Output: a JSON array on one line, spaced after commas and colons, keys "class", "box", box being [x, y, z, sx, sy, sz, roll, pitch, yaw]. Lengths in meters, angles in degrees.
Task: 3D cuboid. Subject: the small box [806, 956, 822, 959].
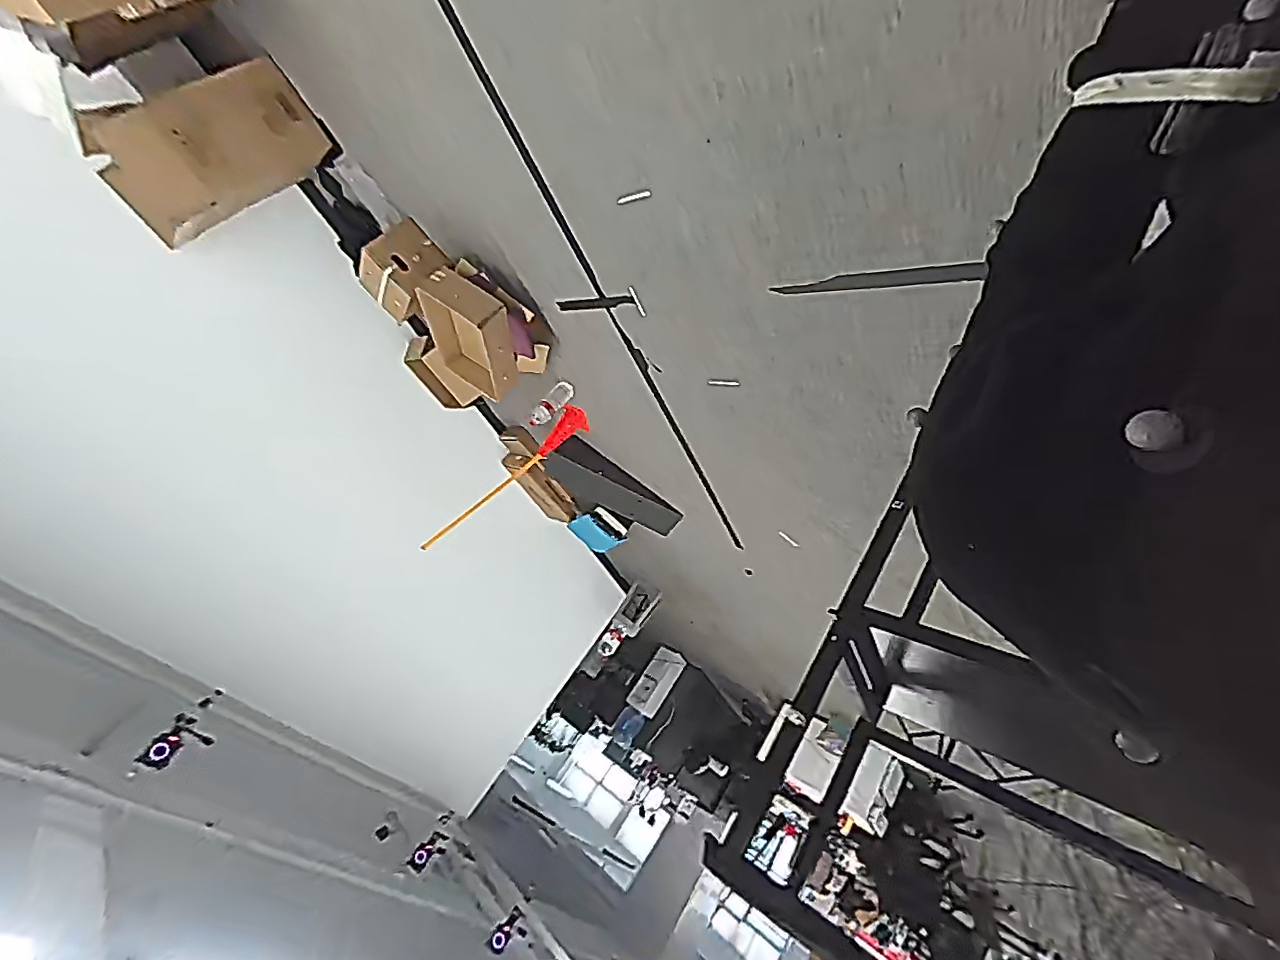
[{"class": "small box", "box": [0.401, 1.128, 1.111, 0.168, 0.176, 0.179, 16, 149, 40]}]
